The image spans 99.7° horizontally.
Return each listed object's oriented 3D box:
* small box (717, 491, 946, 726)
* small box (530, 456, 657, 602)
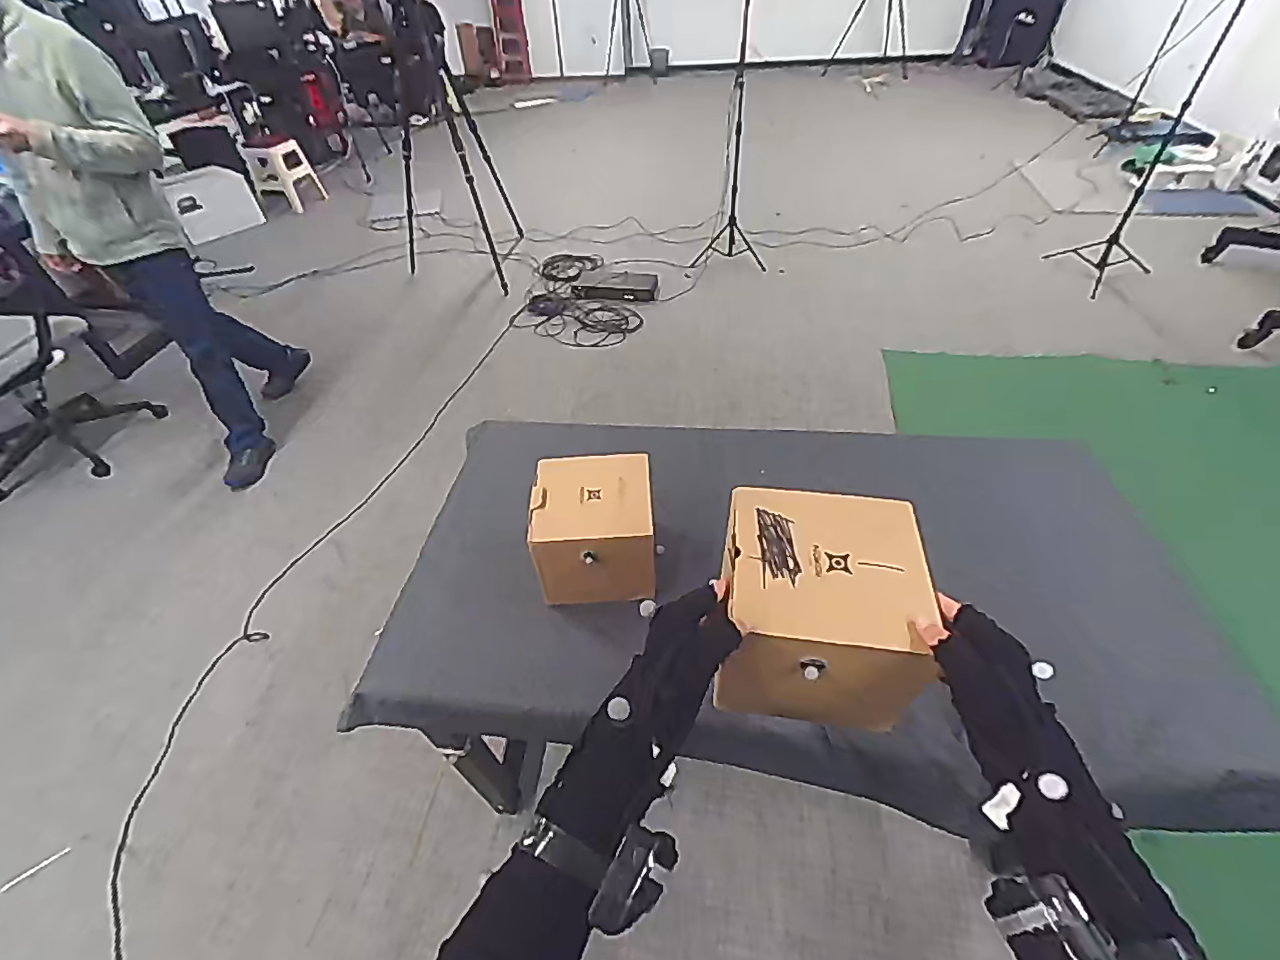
[{"bbox_3d":[0.173,0.133,0.551,0.179,0.176,0.168,5,47,6],"label":"small box"},{"bbox_3d":[-0.065,0.081,0.857,0.179,0.176,0.168,-3,47,0],"label":"small box"}]
